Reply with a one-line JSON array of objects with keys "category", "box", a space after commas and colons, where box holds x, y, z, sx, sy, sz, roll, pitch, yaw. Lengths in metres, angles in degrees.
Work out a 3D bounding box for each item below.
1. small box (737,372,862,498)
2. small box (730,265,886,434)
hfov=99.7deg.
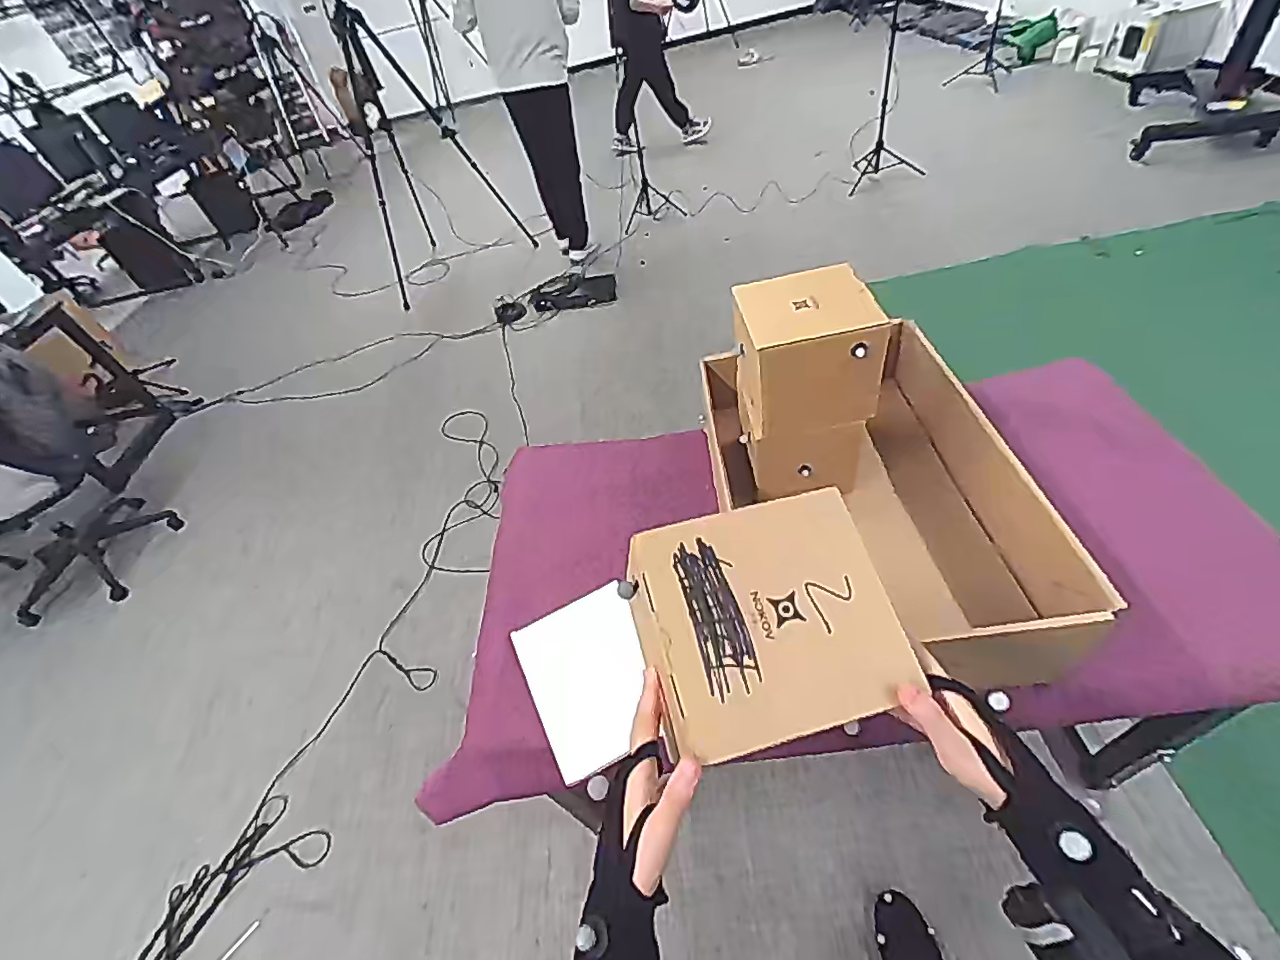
[{"category": "small box", "box": [0.266, -0.083, 0.926, 0.168, 0.176, 0.179, -9, 48, 6]}, {"category": "small box", "box": [0.241, -0.189, 0.806, 0.179, 0.176, 0.168, -11, 47, 4]}]
